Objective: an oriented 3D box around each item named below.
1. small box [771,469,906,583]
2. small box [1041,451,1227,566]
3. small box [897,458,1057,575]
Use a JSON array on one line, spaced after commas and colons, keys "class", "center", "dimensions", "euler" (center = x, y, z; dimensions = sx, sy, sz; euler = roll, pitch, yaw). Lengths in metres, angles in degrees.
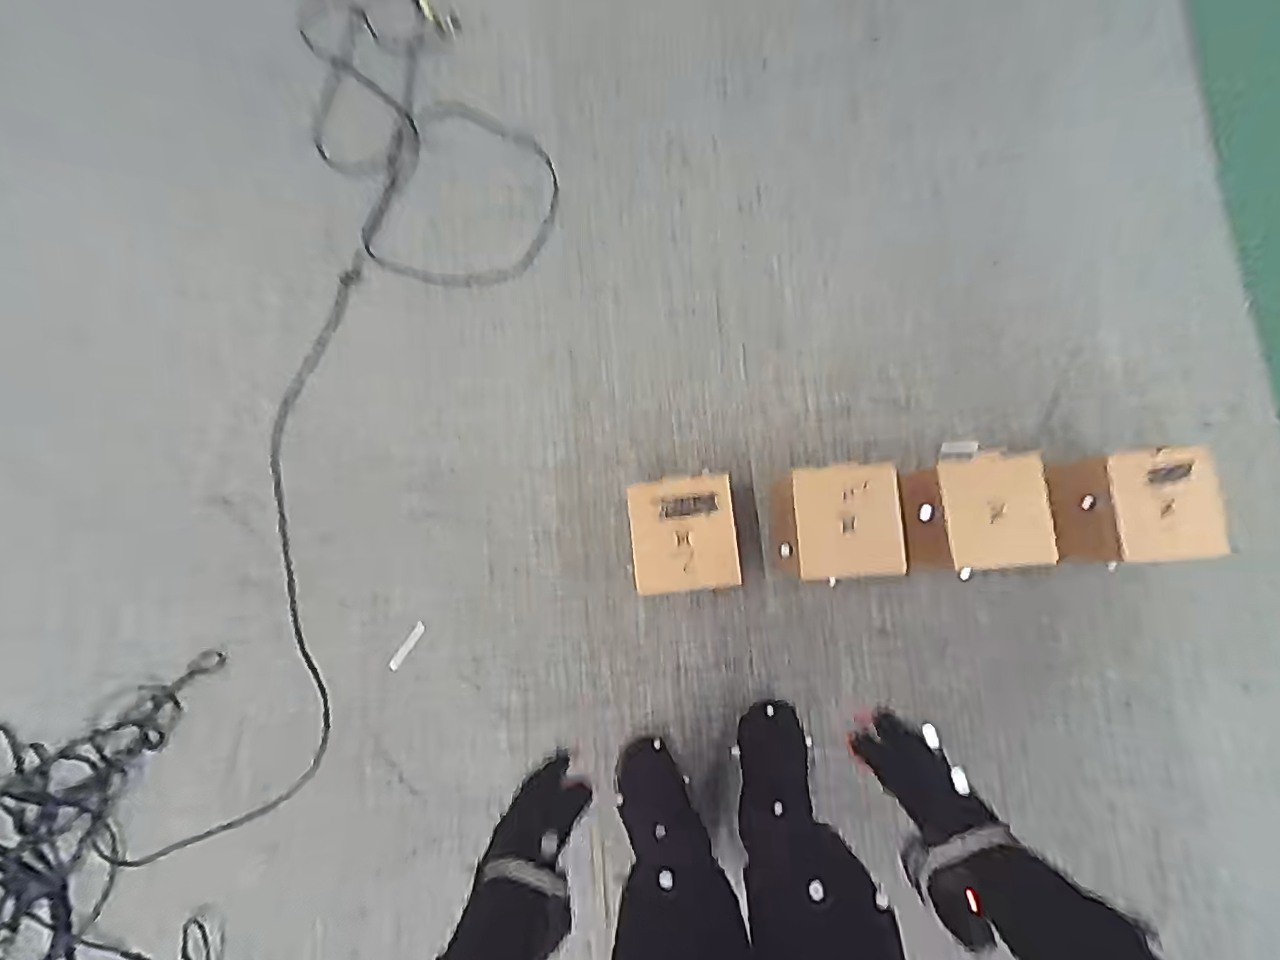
[{"class": "small box", "center": [0.330, 0.082, 0.929], "dimensions": [0.168, 0.176, 0.179], "euler": [-3, 81, -1]}, {"class": "small box", "center": [0.825, 0.056, 0.930], "dimensions": [0.168, 0.176, 0.179], "euler": [-4, 82, 0]}, {"class": "small box", "center": [0.562, 0.067, 0.931], "dimensions": [0.168, 0.176, 0.179], "euler": [-5, 81, -1]}]
